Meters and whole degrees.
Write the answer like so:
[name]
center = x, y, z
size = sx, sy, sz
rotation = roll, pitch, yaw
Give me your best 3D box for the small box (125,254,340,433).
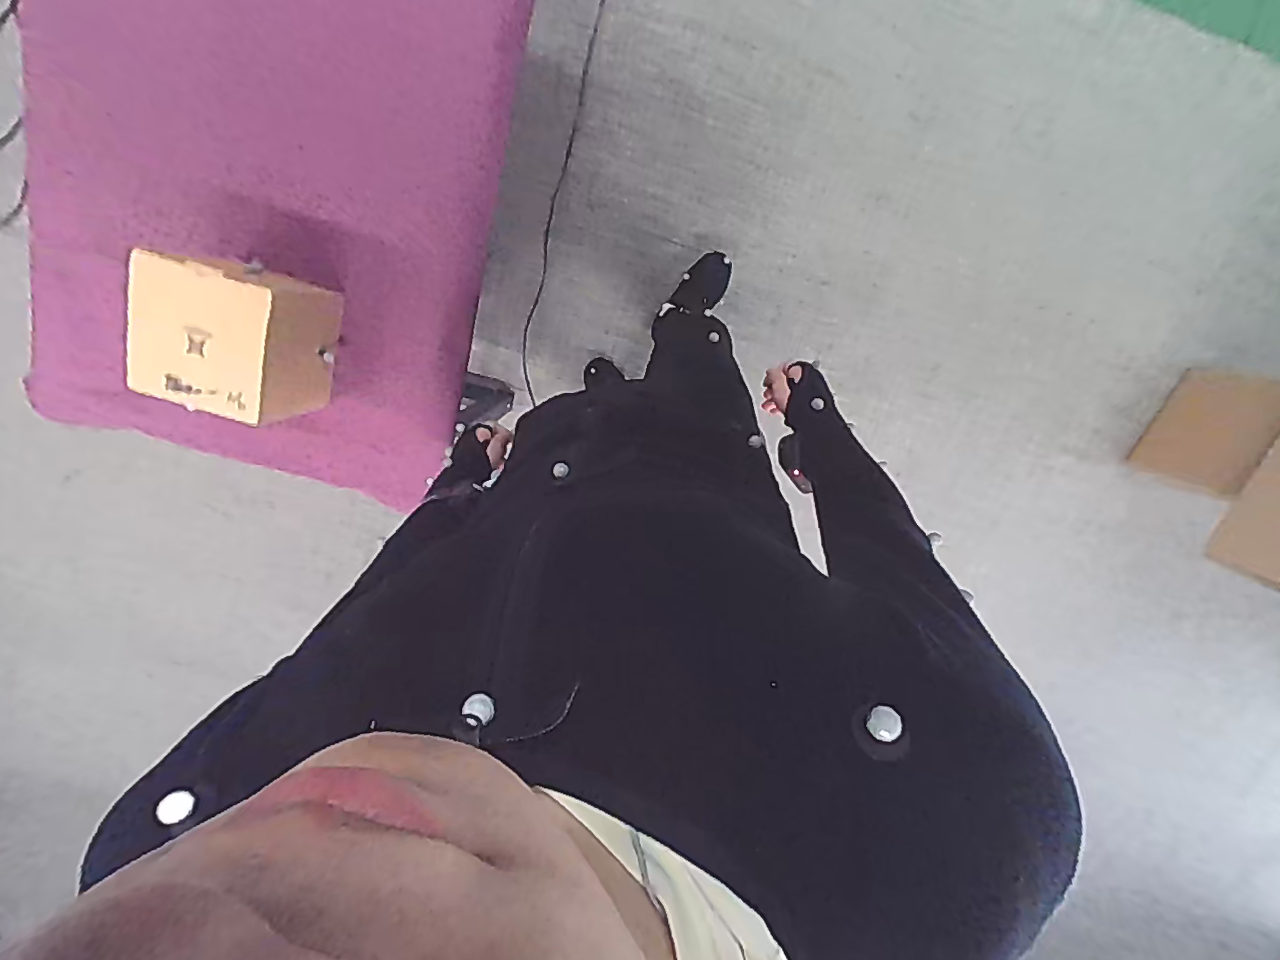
[small box]
center = -0.538, -0.184, 0.736
size = 0.168, 0.176, 0.179
rotation = 17, 105, -5
